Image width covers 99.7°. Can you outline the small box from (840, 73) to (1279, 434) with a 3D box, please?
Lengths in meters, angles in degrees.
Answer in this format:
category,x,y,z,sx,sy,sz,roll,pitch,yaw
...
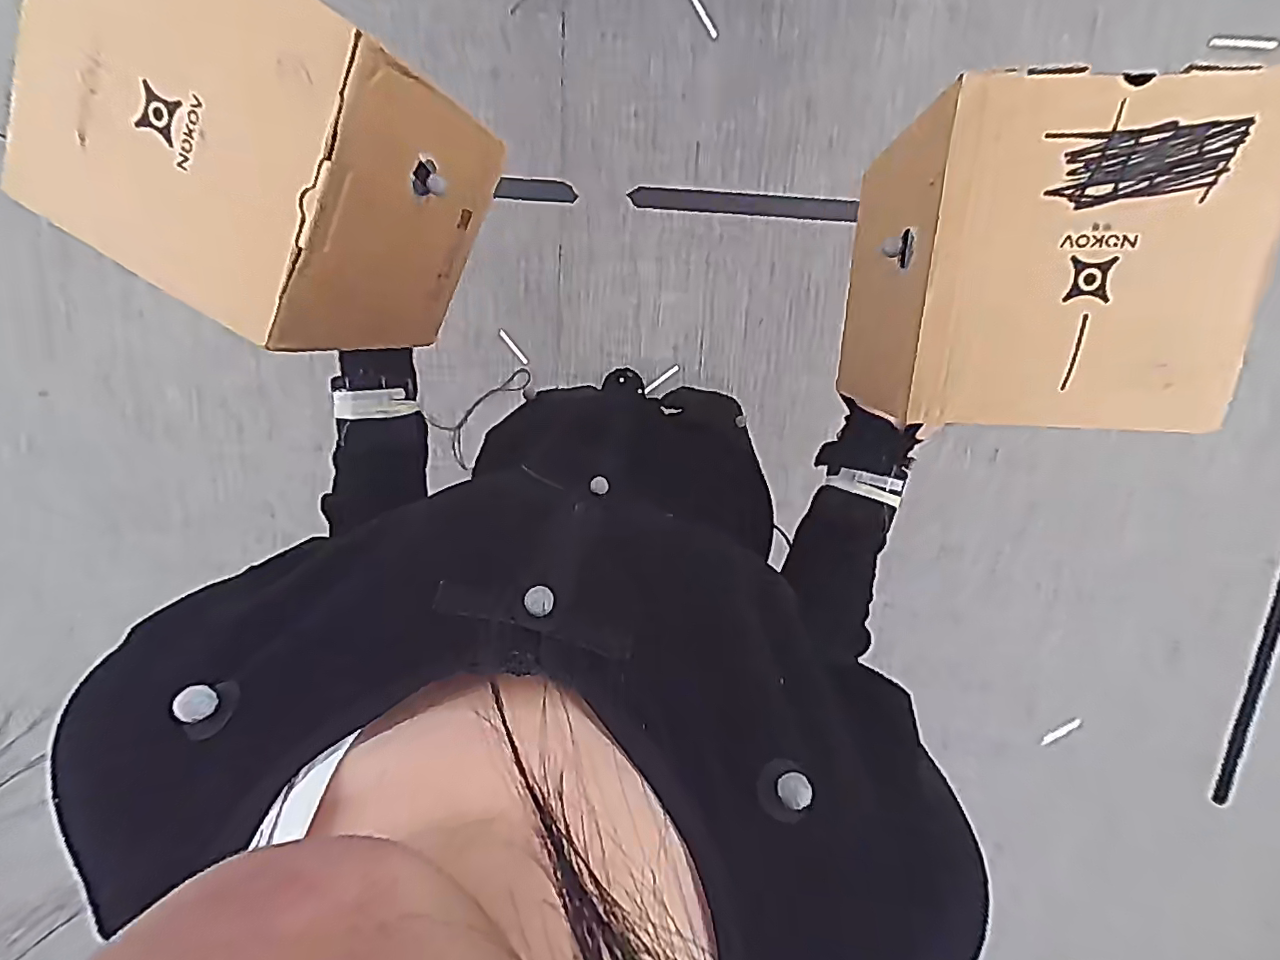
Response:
category,x,y,z,sx,sy,sz,roll,pitch,yaw
small box,0.245,-0.135,0.363,0.168,0.176,0.179,3,106,5

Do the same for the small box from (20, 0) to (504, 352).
category,x,y,z,sx,sy,sz,roll,pitch,yaw
small box,-0.217,-0.200,0.350,0.179,0.176,0.168,31,107,2
